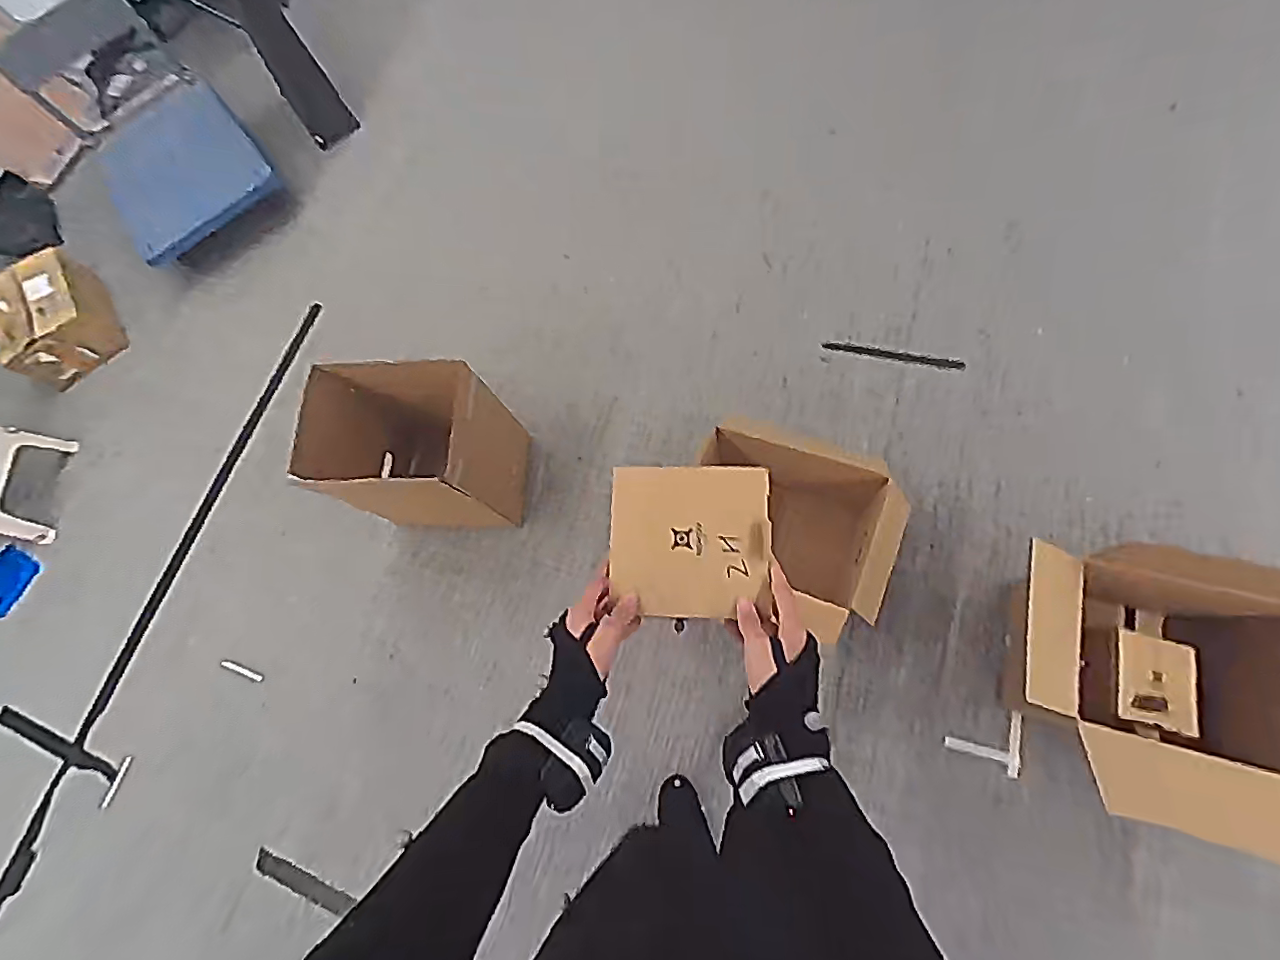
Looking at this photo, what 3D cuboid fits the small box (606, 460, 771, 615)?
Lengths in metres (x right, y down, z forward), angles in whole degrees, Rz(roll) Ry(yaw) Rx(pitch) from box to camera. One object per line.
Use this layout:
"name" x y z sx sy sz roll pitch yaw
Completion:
"small box" 0.059 0.077 0.662 0.179 0.176 0.168 1 76 5
